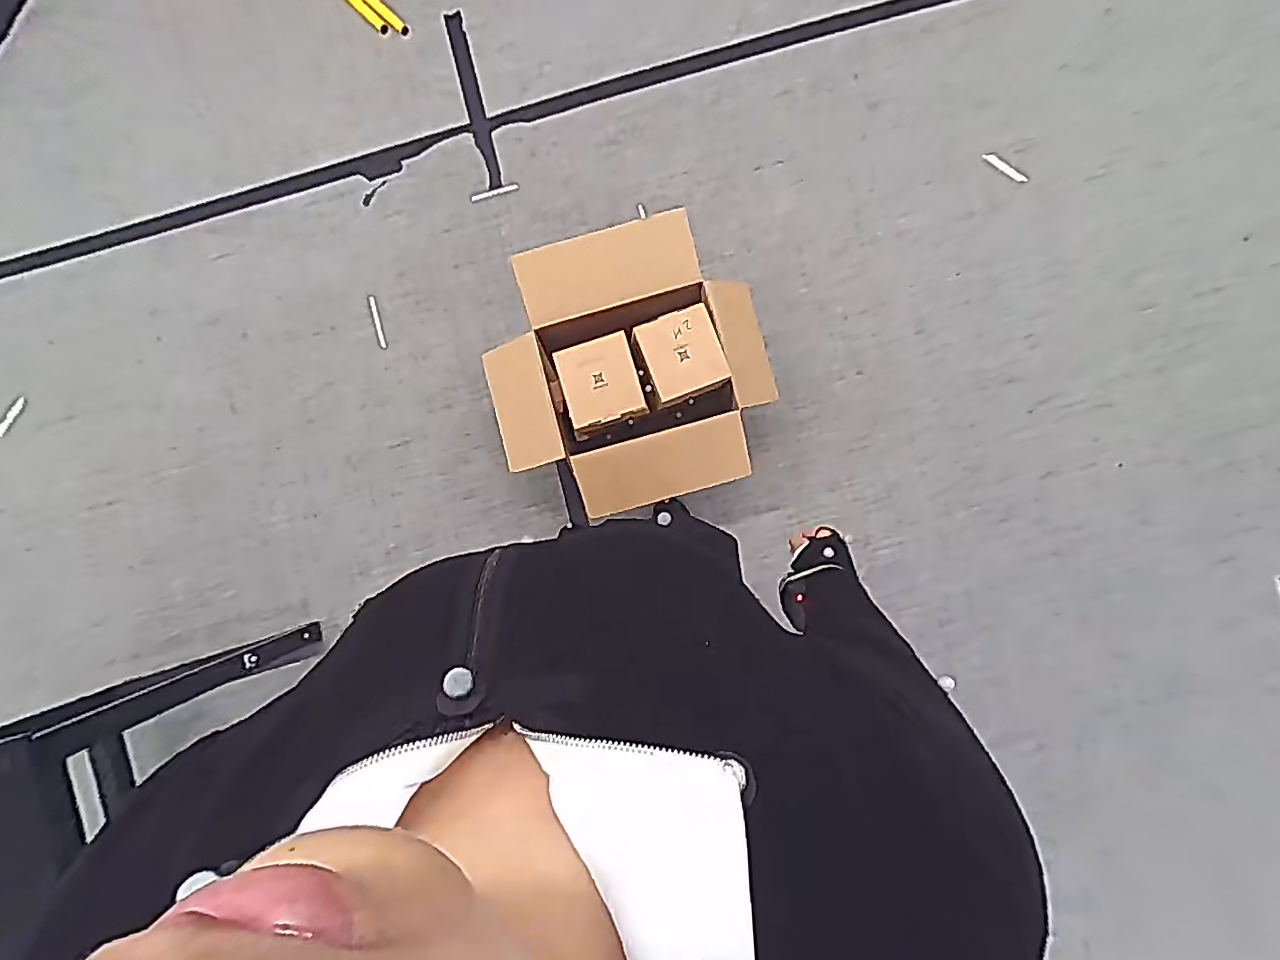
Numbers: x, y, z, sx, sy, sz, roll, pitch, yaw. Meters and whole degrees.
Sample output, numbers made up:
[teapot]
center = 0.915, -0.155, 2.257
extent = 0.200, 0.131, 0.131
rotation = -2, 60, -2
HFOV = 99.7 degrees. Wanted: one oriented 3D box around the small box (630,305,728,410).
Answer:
[small box]
center = 0.083, -0.269, 1.243
extent = 0.168, 0.176, 0.179
rotation = -21, 89, -4
